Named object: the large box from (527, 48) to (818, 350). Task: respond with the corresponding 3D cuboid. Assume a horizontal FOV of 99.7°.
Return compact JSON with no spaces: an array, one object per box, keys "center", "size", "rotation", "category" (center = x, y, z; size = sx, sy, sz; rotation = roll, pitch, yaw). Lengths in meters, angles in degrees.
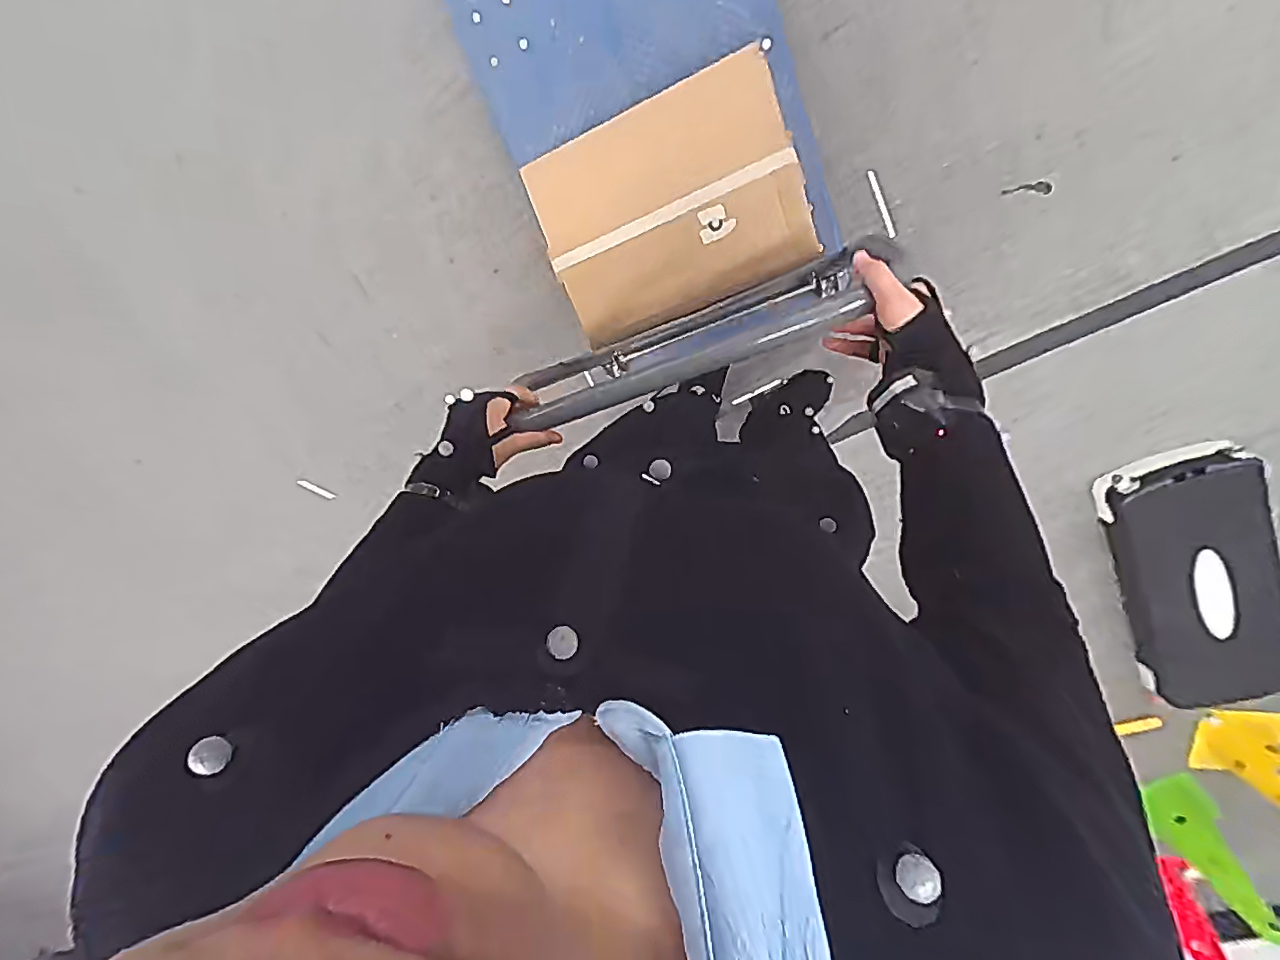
[{"center":[0.072,-0.474,1.006],"size":[0.408,0.320,0.320],"rotation":[-18,106,16],"category":"large box"}]
